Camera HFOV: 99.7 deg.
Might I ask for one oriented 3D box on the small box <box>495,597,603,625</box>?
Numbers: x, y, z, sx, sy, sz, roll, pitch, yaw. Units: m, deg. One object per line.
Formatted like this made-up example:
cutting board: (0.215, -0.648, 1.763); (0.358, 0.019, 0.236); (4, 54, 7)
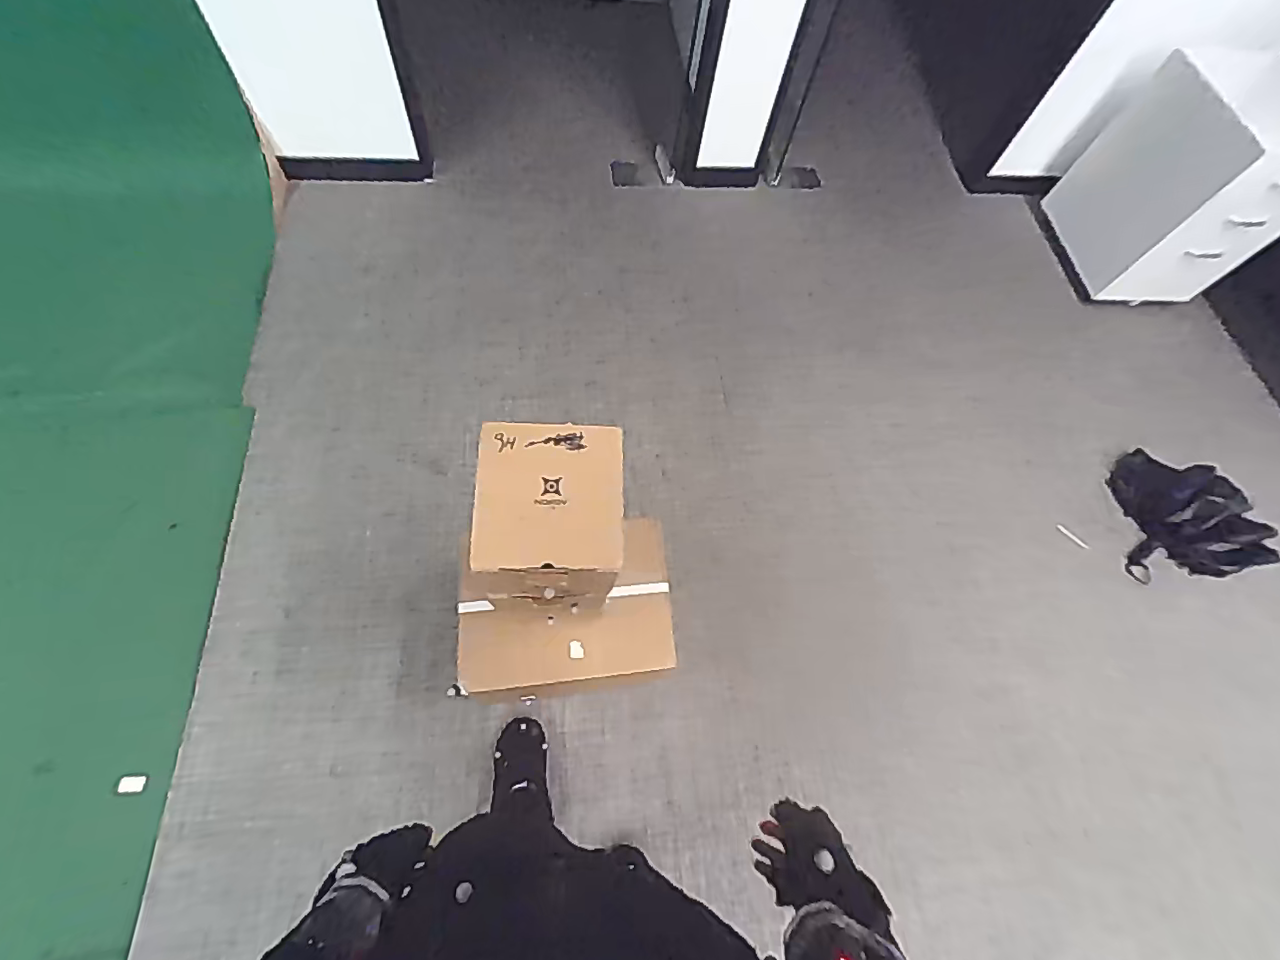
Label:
small box: (-0.158, 0.170, 0.984); (0.179, 0.176, 0.168); (3, 68, -6)

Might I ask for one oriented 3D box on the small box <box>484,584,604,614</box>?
small box: (-0.143, 0.111, 0.837); (0.168, 0.176, 0.179); (0, 68, -9)

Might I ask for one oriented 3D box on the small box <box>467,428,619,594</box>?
small box: (-0.115, 0.049, 0.688); (0.168, 0.176, 0.179); (2, 70, -8)
